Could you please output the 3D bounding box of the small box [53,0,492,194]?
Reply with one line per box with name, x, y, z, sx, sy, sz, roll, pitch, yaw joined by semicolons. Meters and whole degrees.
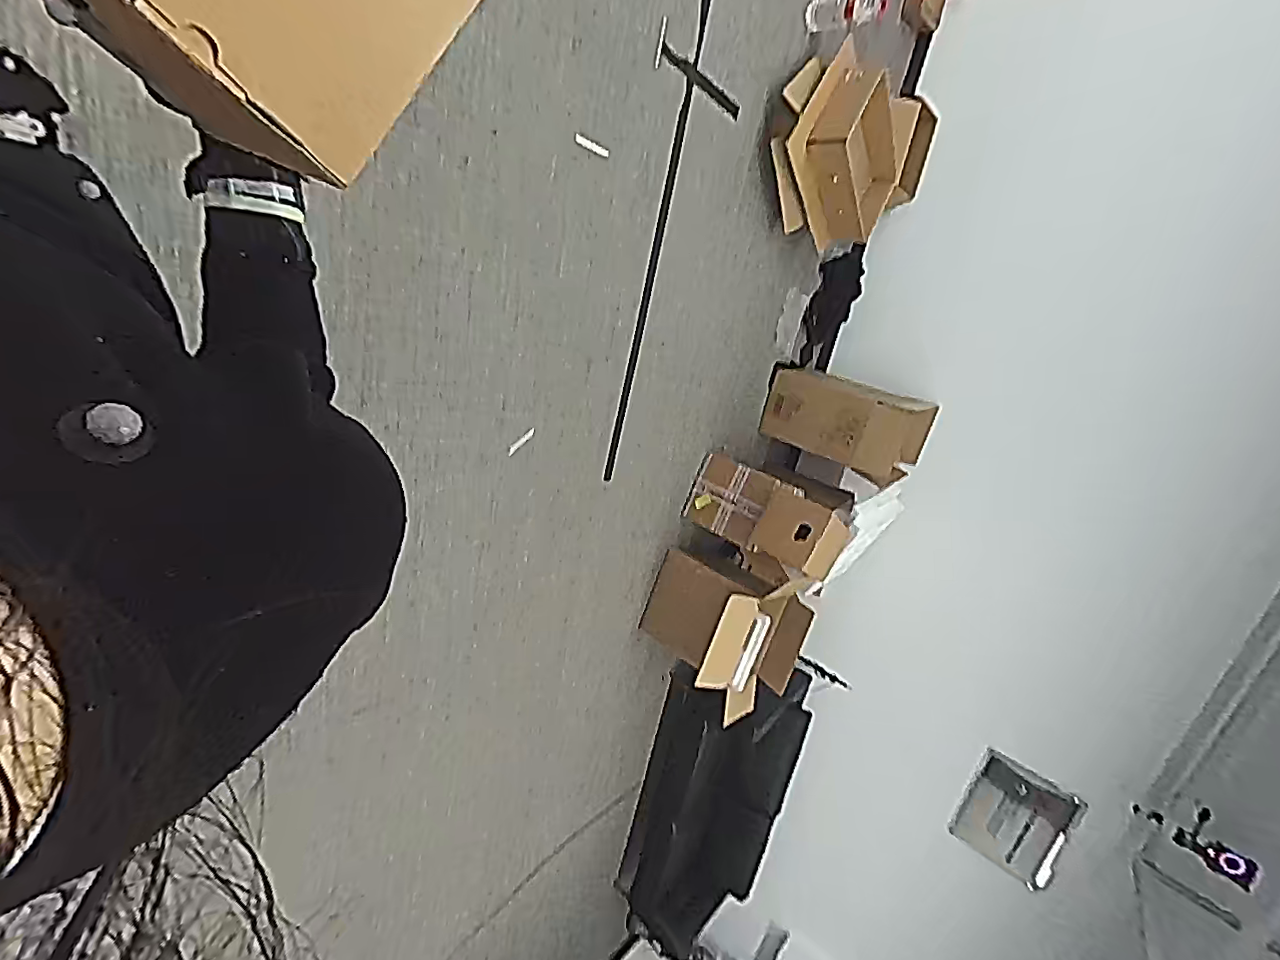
small box;-0.212;-0.299;0.284;0.179;0.176;0.168;-58;156;-3
